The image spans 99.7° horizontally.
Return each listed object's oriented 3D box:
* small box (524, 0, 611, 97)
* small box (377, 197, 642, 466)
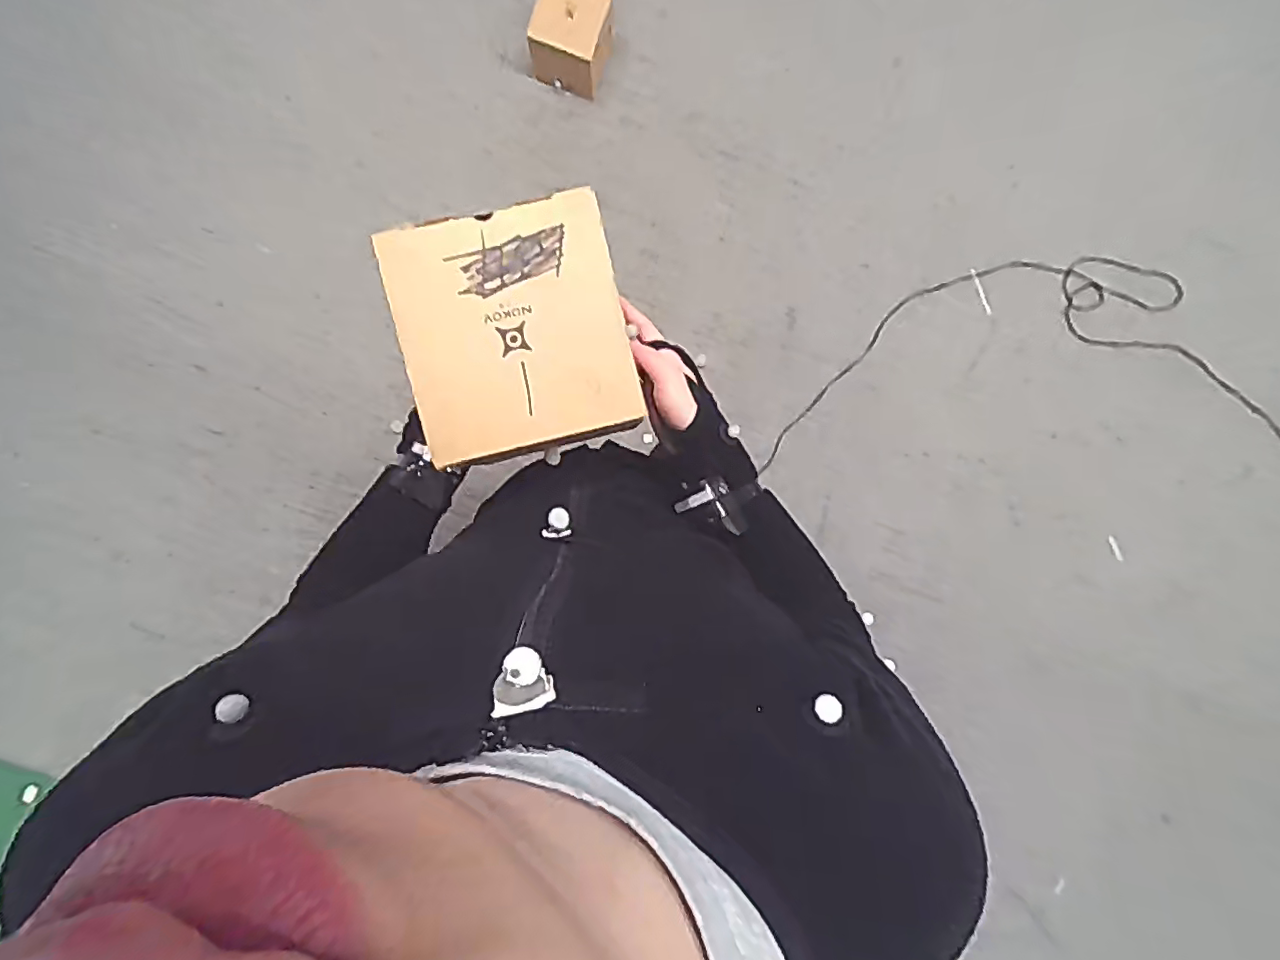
[{"bbox_3d":[-0.177,-1.121,1.358,0.168,0.176,0.179,19,95,-4],"label":"small box"},{"bbox_3d":[-0.101,-0.114,0.481,0.168,0.176,0.179,-13,95,-3],"label":"small box"}]
